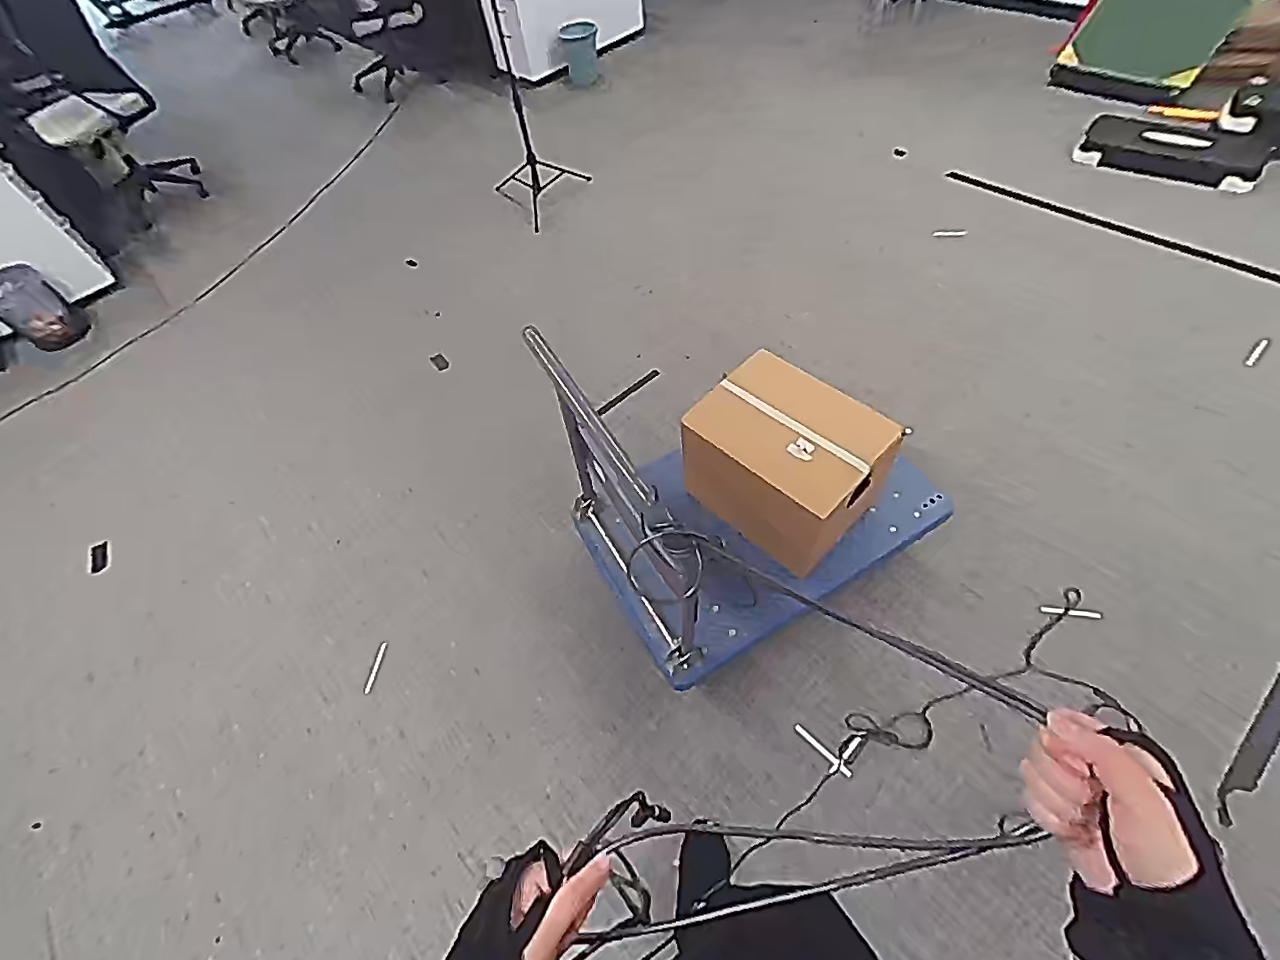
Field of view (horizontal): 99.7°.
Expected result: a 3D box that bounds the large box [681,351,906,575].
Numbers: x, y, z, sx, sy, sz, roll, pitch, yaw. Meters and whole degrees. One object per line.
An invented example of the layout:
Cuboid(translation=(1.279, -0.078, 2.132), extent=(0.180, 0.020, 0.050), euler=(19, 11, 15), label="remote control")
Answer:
Cuboid(translation=(0.350, -0.043, 1.343), extent=(0.320, 0.320, 0.408), euler=(-42, 62, -18), label="large box")
